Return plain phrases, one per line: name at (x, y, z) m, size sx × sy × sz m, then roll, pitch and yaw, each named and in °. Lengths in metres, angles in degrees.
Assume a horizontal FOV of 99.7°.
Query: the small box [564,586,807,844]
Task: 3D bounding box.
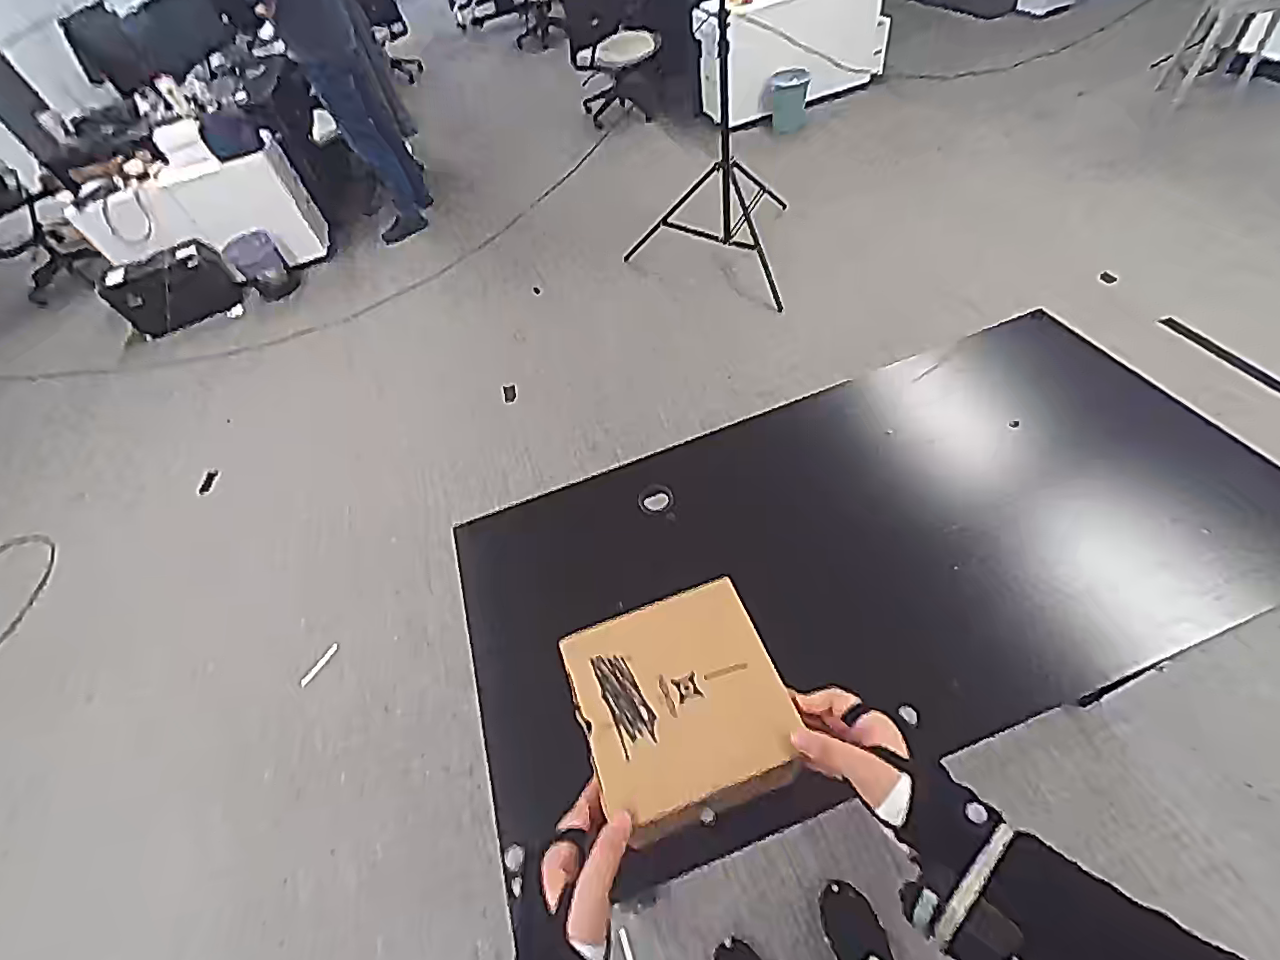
small box at (0.042, 0.240, 0.542) m, size 0.179 × 0.176 × 0.168 m, roll -19°, pitch 53°, yaw -7°
